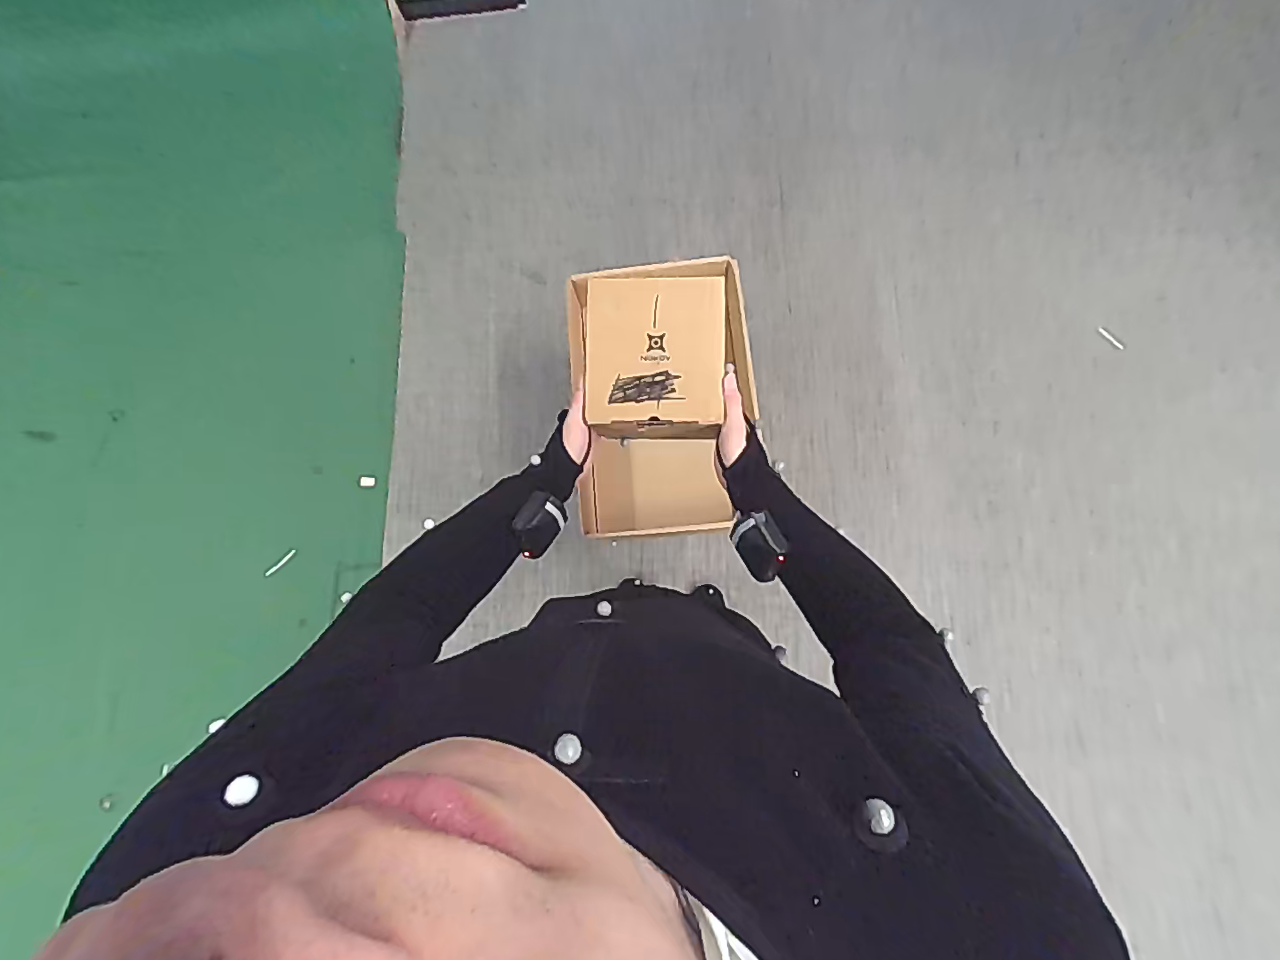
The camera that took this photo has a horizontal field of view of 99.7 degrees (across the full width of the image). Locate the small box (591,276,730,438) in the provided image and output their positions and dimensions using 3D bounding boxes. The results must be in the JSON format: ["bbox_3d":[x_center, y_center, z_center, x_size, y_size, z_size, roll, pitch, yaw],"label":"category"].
[{"bbox_3d":[0.030,-0.148,0.712,0.168,0.176,0.179,0,87,4],"label":"small box"}]
